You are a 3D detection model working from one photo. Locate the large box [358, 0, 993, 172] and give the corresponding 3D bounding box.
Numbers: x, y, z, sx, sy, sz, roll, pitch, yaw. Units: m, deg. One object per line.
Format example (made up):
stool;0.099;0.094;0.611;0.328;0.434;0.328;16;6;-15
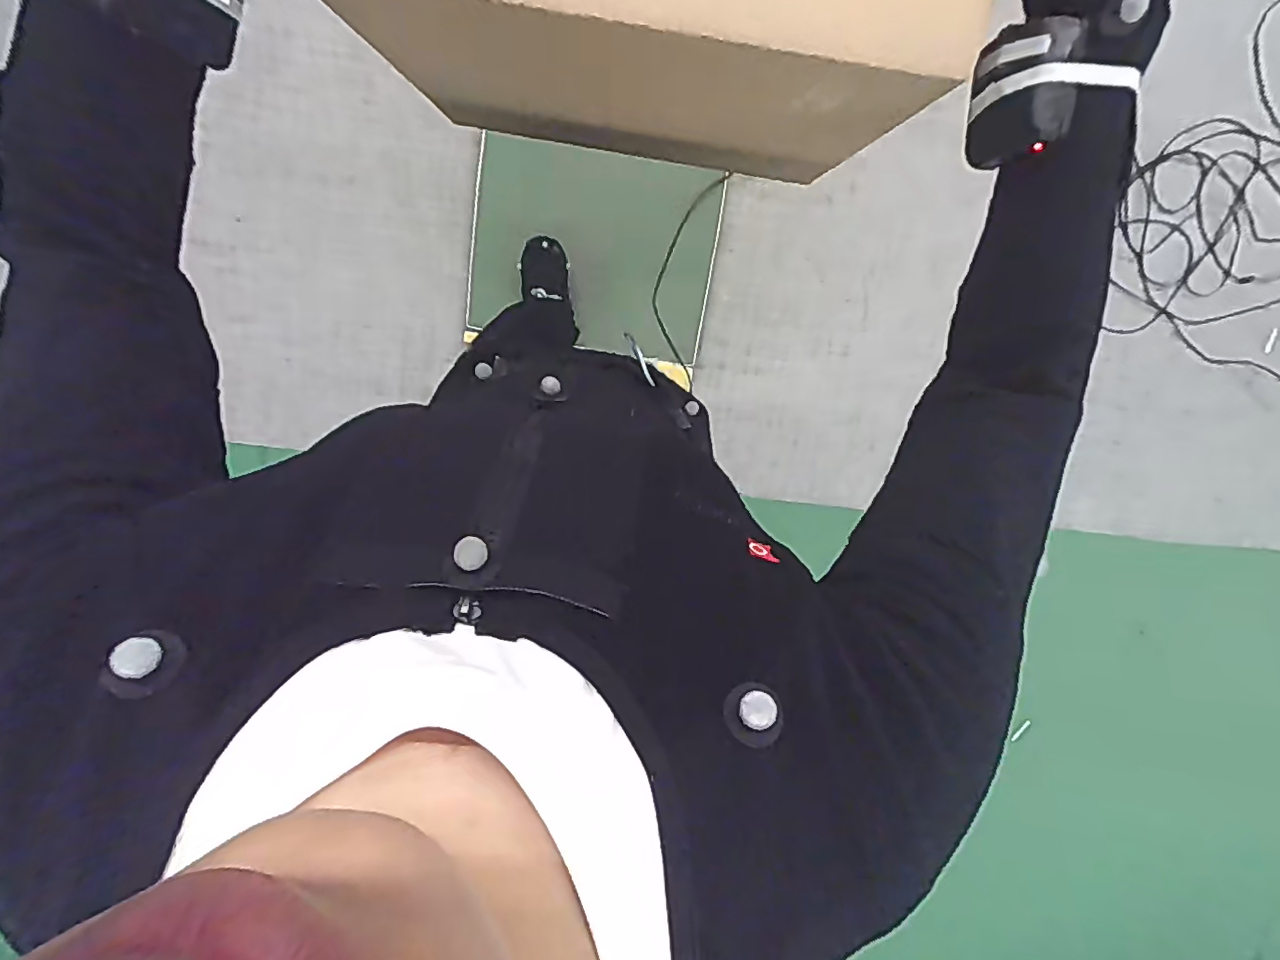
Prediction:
large box;0.022;-0.464;0.411;0.408;0.320;0.320;7;109;-4
